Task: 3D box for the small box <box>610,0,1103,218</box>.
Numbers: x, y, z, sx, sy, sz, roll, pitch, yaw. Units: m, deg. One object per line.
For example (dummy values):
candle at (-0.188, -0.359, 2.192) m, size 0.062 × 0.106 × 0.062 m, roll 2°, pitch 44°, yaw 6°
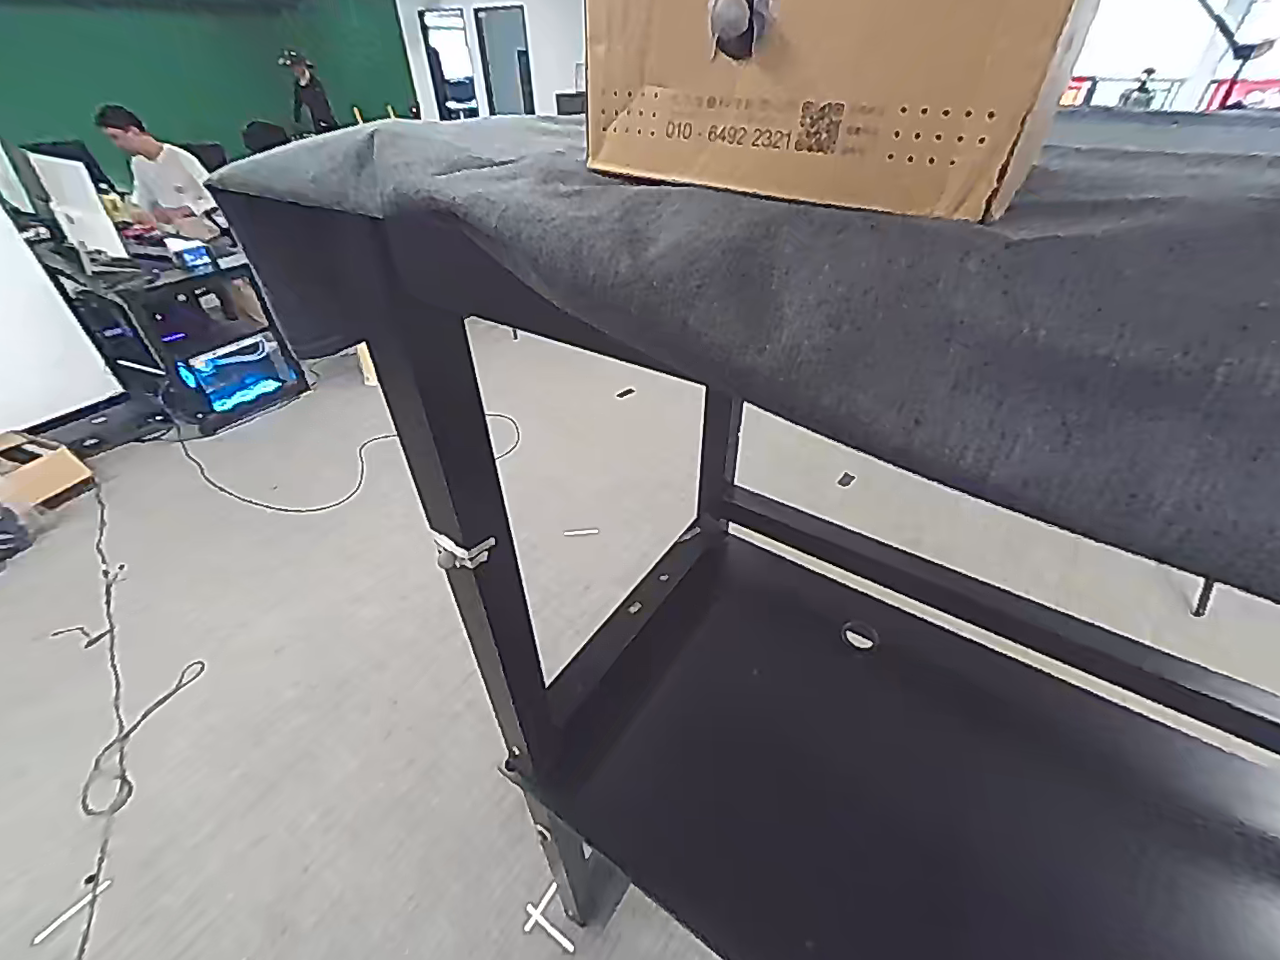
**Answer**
small box at (0.097, -0.219, 0.216) m, size 0.168 × 0.176 × 0.179 m, roll 23°, pitch 43°, yaw 26°
